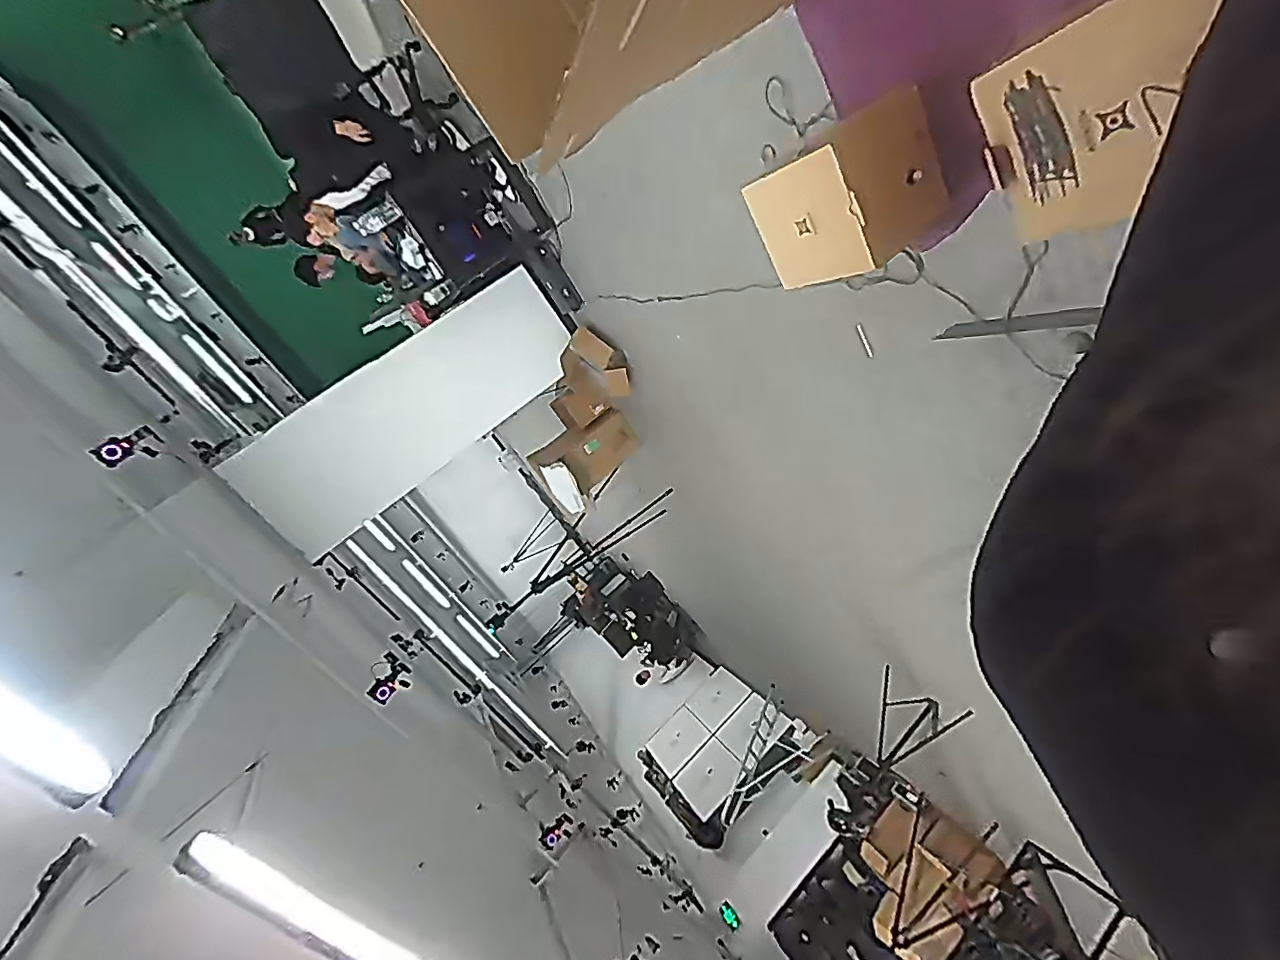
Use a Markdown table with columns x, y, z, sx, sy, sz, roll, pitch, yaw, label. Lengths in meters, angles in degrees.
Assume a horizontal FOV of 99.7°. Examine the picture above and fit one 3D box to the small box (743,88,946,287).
| x | y | z | sx | sy | sz | roll | pitch | yaw | label |
| --- | --- | --- | --- | --- | --- | --- | --- | --- | --- |
| 0.286 | -0.400 | 0.762 | 0.168 | 0.176 | 0.179 | 56 | 162 | -24 | small box |
